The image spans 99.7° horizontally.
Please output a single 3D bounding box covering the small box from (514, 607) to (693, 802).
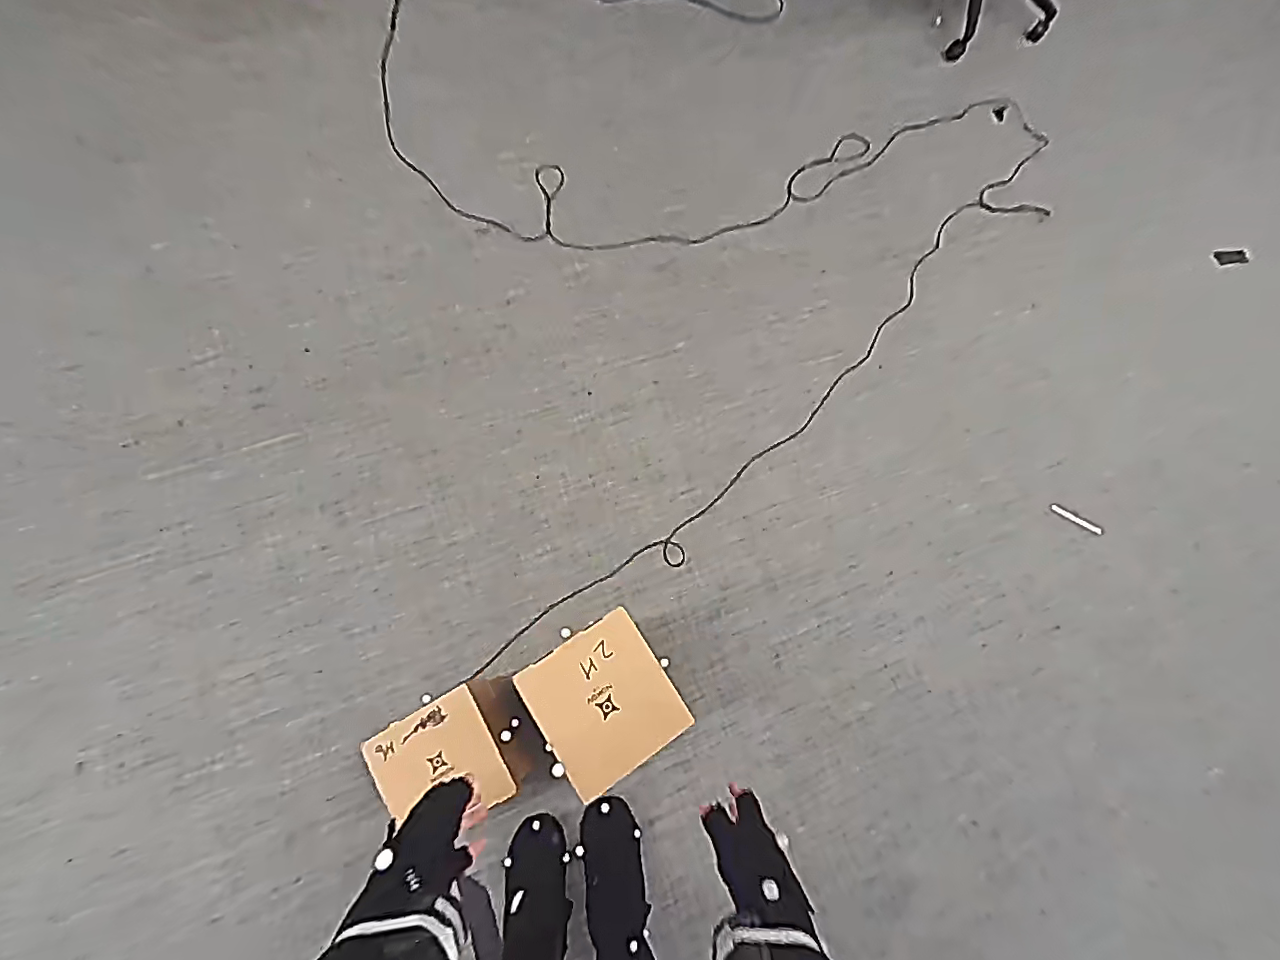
[{"bbox_3d":[-0.053,0.294,0.749,0.168,0.176,0.179,-31,80,-14],"label":"small box"}]

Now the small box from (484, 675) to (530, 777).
[{"bbox_3d":[-0.314,0.482,1.010,0.168,0.176,0.179,-24,77,-13],"label":"small box"}]

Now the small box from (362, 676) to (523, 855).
[{"bbox_3d":[-0.297,0.431,0.854,0.168,0.176,0.179,-27,79,-14],"label":"small box"}]
